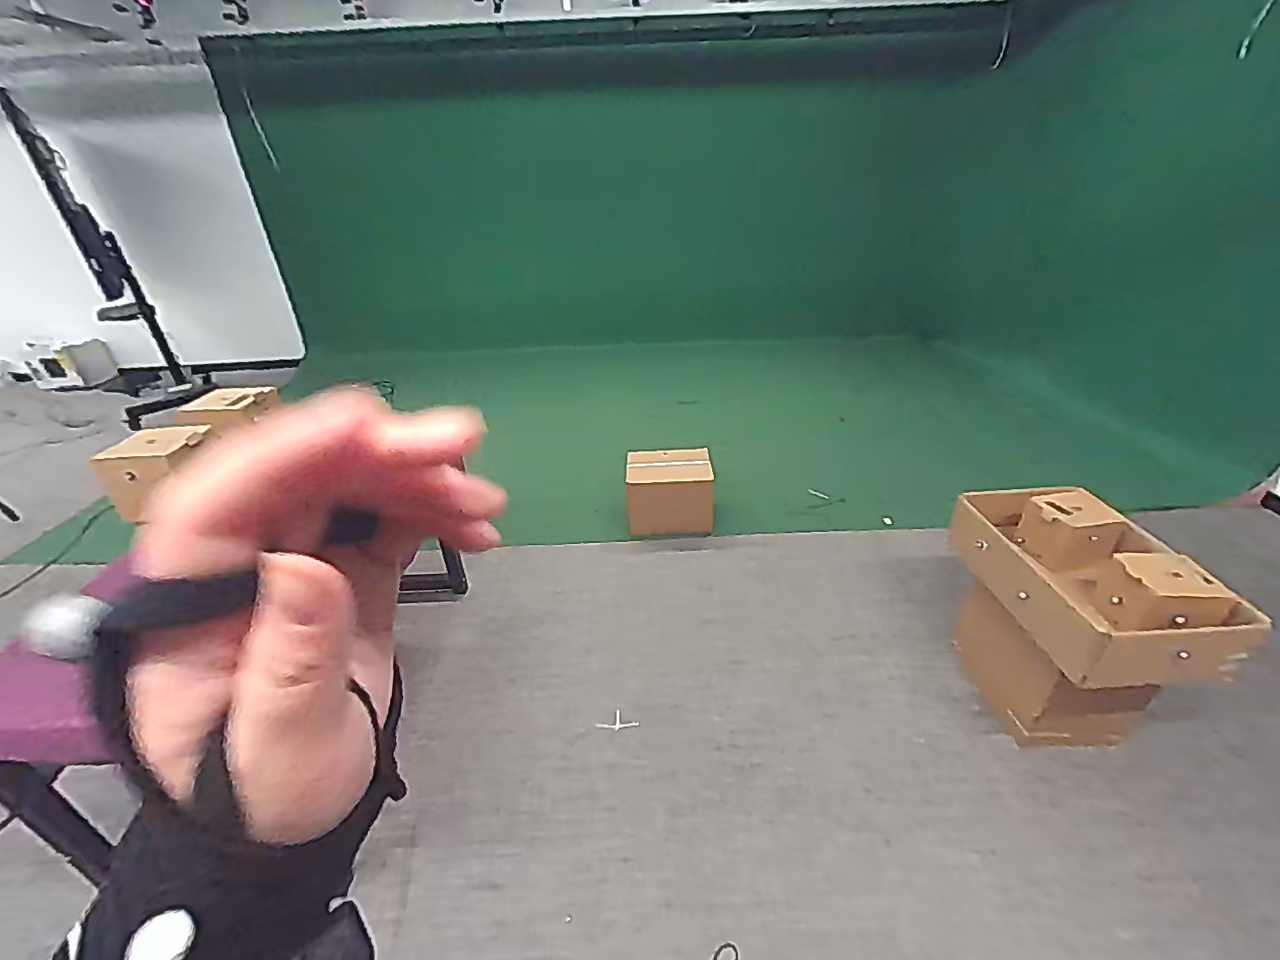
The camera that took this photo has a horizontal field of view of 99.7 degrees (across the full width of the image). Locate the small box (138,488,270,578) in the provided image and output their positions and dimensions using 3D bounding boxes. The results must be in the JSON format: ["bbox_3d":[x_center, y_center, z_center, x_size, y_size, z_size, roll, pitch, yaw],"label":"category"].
[{"bbox_3d":[-1.100,0.135,1.384,0.179,0.176,0.168,-3,29,0],"label":"small box"}]

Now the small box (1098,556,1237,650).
[{"bbox_3d":[1.308,0.310,1.363,0.179,0.176,0.168,-1,30,7],"label":"small box"}]

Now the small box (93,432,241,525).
[{"bbox_3d":[-1.117,-0.003,1.294,0.179,0.176,0.168,-3,29,0],"label":"small box"}]

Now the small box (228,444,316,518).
[{"bbox_3d":[-1.114,0.005,1.614,0.179,0.176,0.168,-2,29,0],"label":"small box"}]
